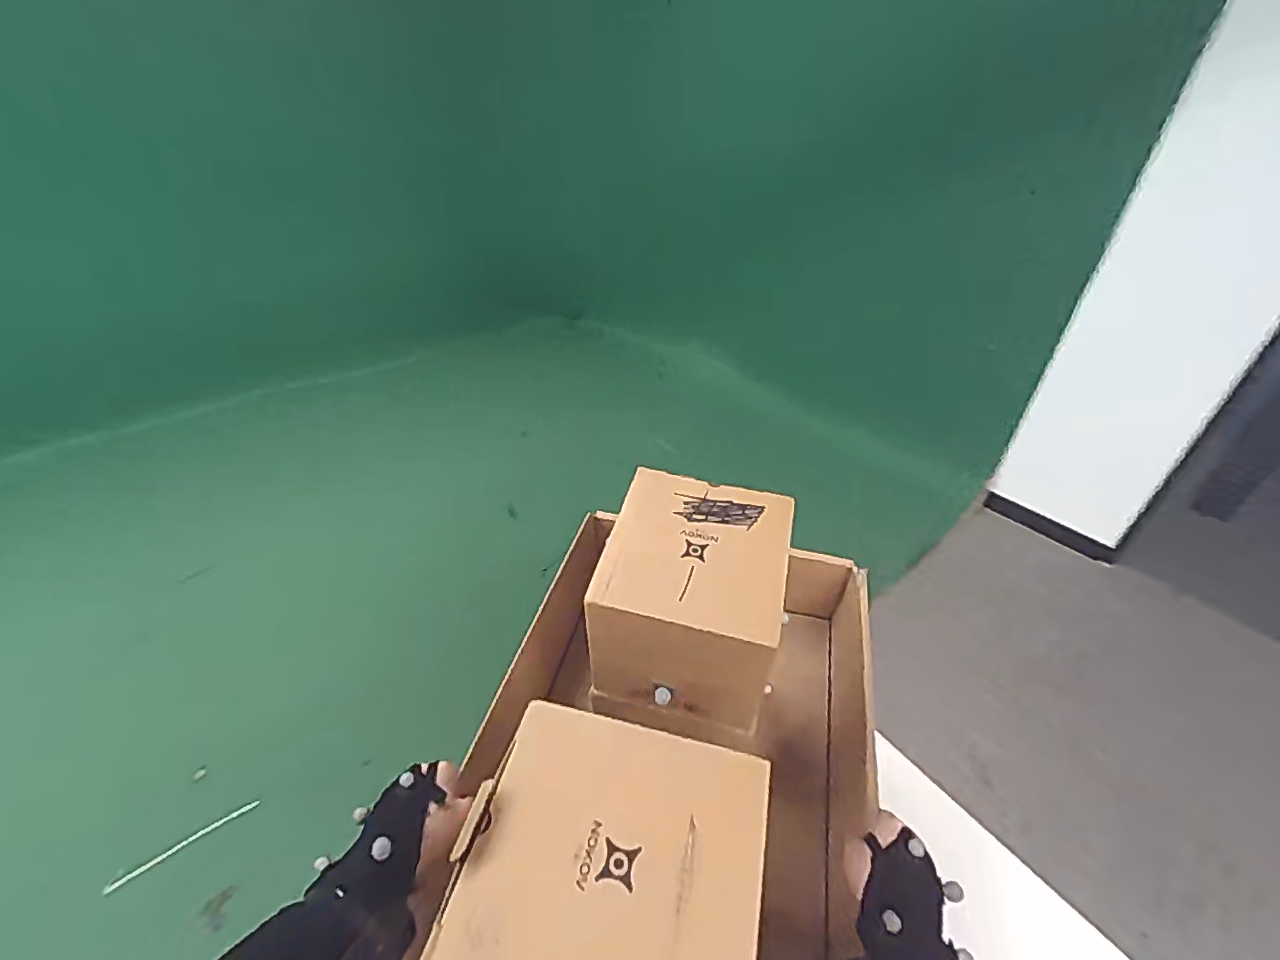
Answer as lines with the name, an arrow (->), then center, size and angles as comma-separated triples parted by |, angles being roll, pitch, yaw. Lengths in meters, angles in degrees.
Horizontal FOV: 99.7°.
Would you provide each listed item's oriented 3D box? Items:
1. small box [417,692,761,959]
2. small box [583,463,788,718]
small box -> -0.020, 0.283, 0.385 | 0.179, 0.176, 0.168 | 10, 44, 9
small box -> 0.048, 0.113, 0.562 | 0.168, 0.176, 0.179 | 11, 46, 11
